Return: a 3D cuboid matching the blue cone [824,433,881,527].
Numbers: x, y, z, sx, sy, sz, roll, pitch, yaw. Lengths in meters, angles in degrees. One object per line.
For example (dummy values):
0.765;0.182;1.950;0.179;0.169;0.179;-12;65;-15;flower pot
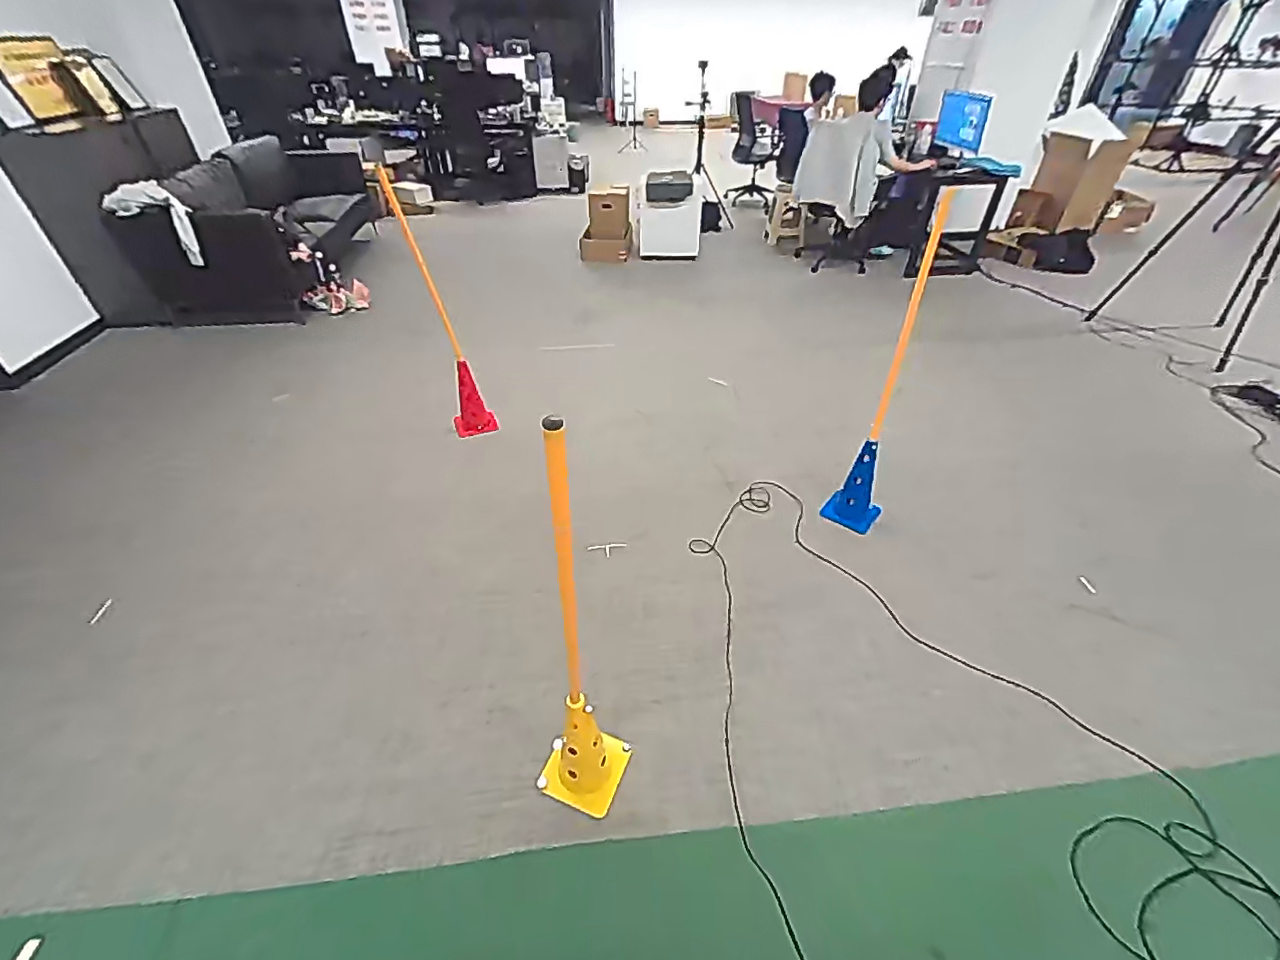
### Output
0.872;-0.019;2.135;0.192;0.380;0.193;26;43;29;blue cone
